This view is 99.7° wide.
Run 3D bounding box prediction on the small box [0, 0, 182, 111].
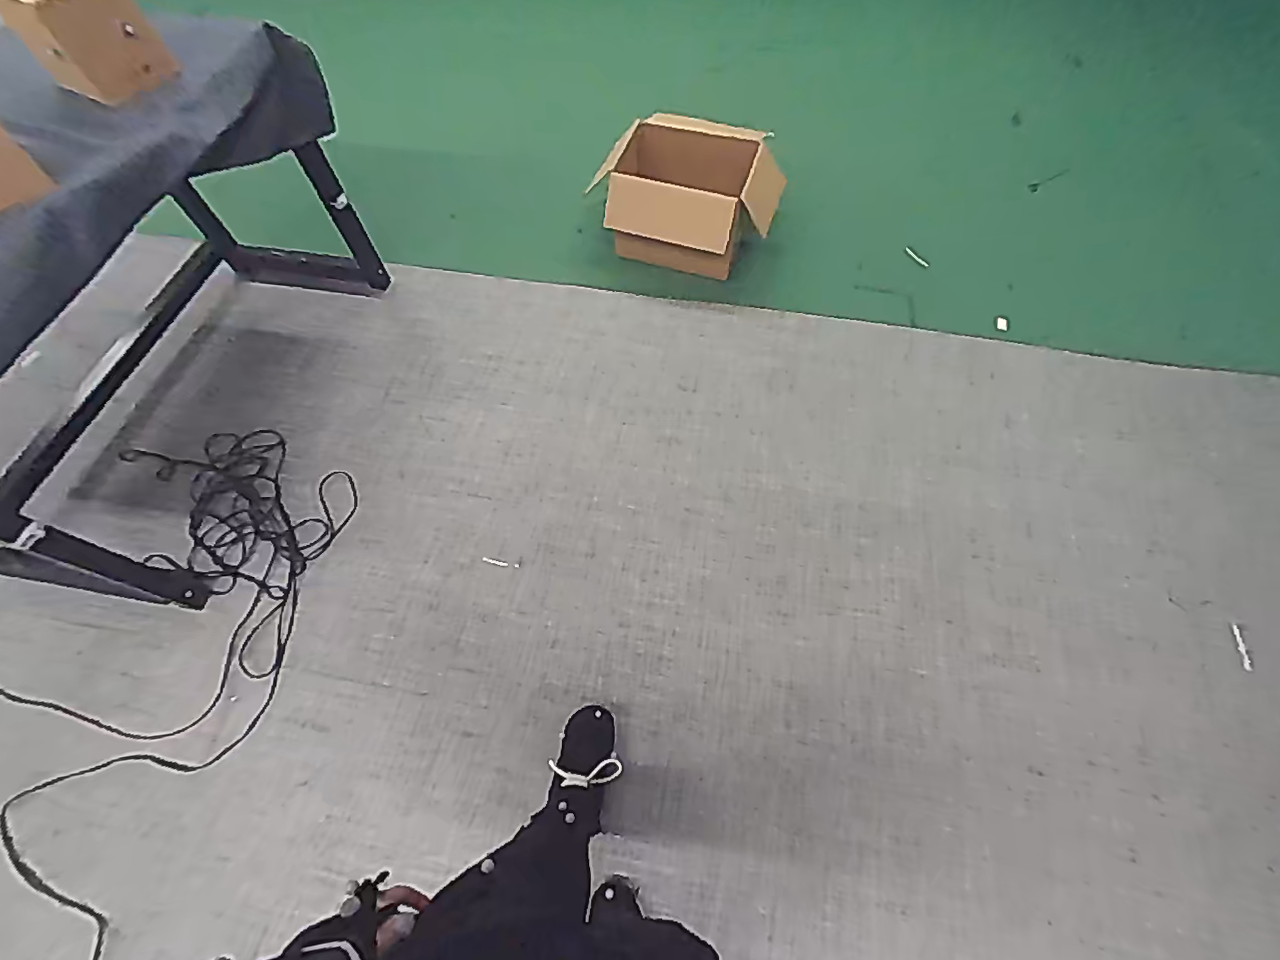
[{"bbox_3d":[-1.076,-0.865,1.067,0.179,0.176,0.168,25,63,15],"label":"small box"}]
